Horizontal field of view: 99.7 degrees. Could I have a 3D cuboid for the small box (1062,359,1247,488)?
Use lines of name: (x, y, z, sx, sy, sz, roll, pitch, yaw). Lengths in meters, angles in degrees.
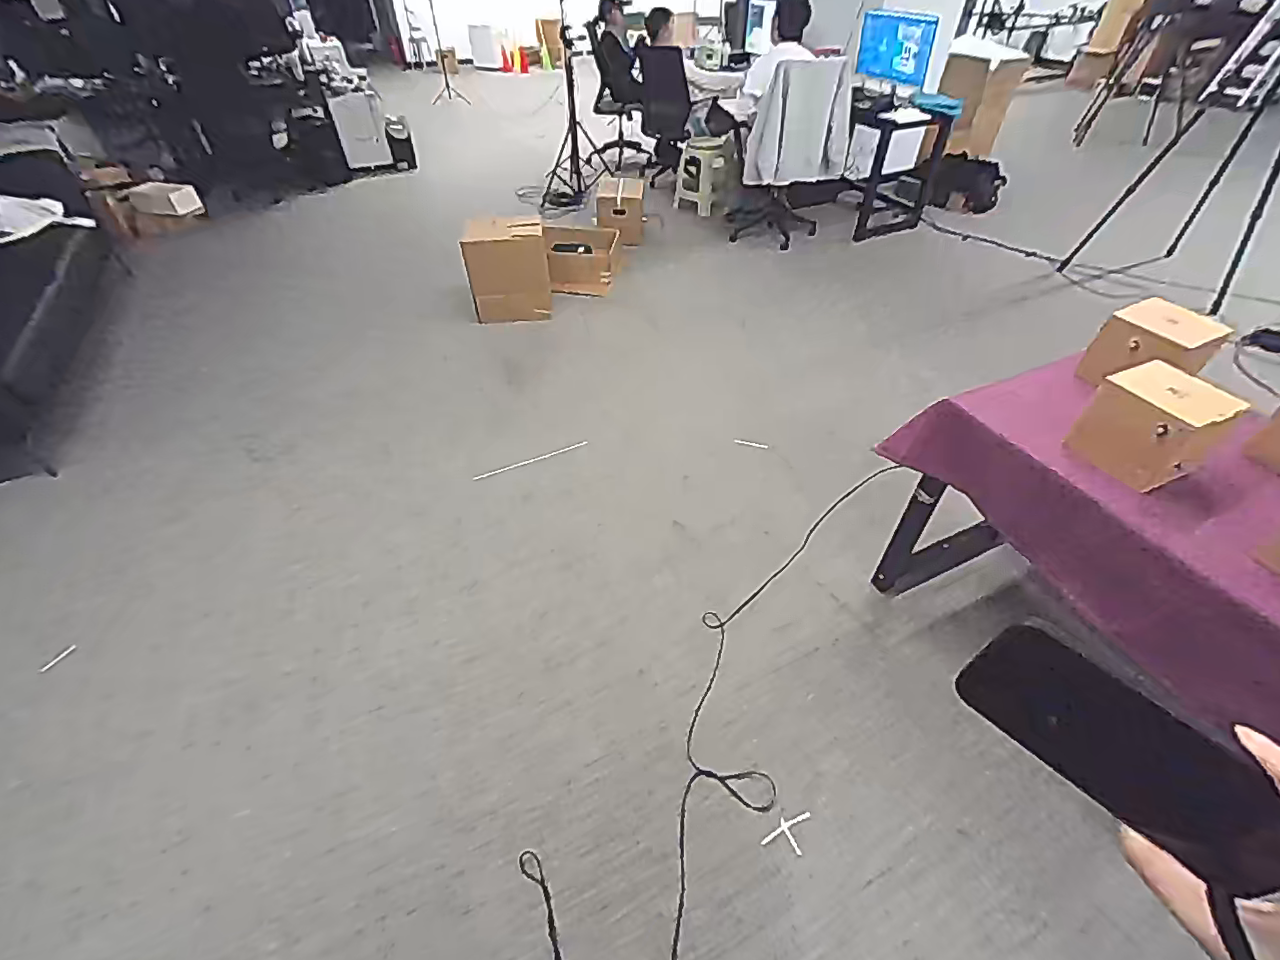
small box: (1.017, -0.114, 1.089, 0.168, 0.176, 0.179, -17, 48, -17)
